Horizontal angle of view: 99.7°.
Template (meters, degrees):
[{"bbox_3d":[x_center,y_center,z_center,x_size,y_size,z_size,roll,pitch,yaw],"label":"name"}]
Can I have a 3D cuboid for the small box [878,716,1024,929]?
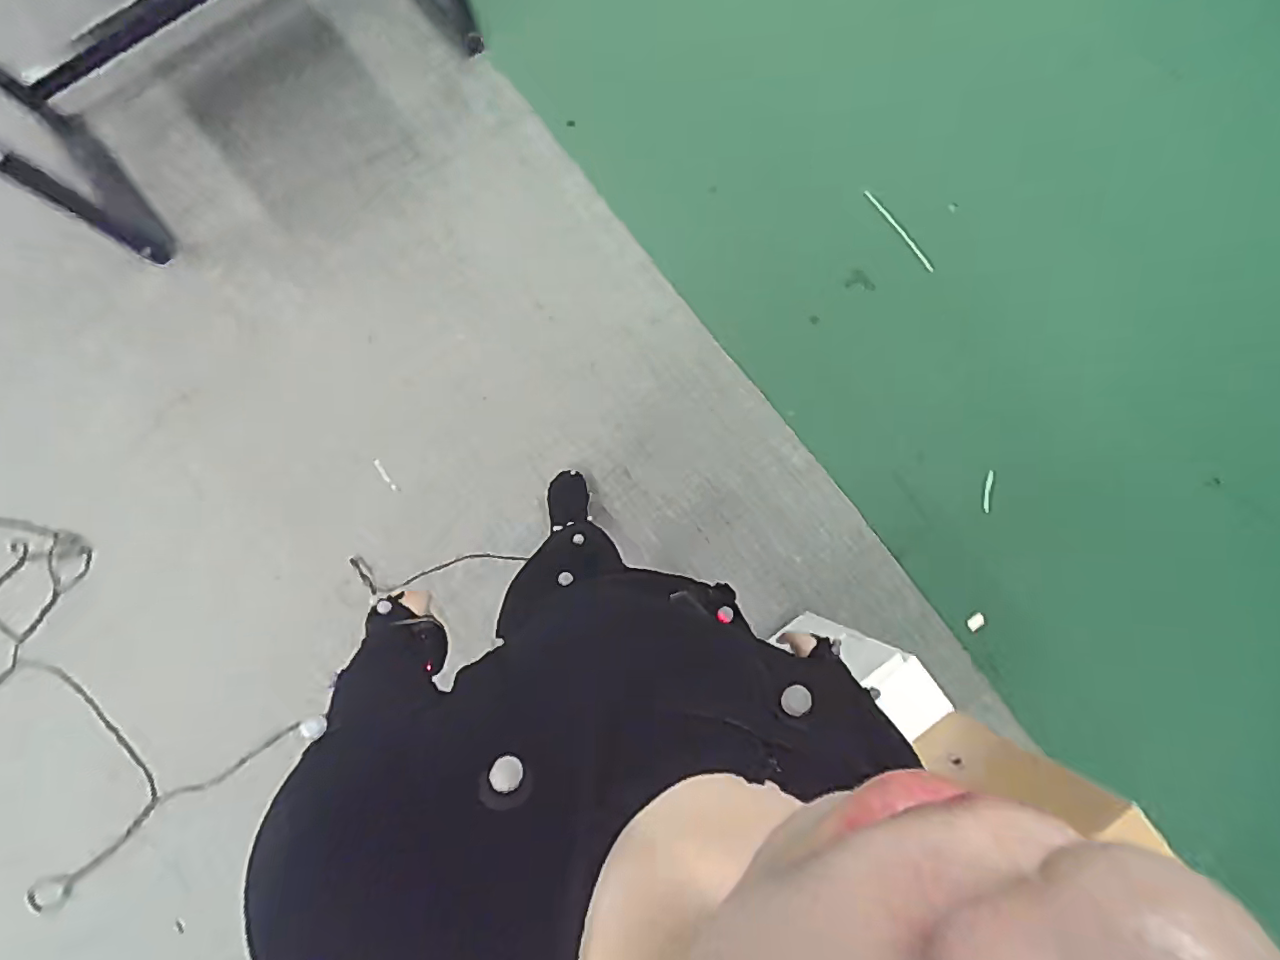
[{"bbox_3d":[0.498,0.487,0.804,0.179,0.176,0.168,-36,85,-4],"label":"small box"}]

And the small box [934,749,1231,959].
[{"bbox_3d":[0.501,0.462,0.642,0.179,0.176,0.168,-36,86,-3],"label":"small box"}]
